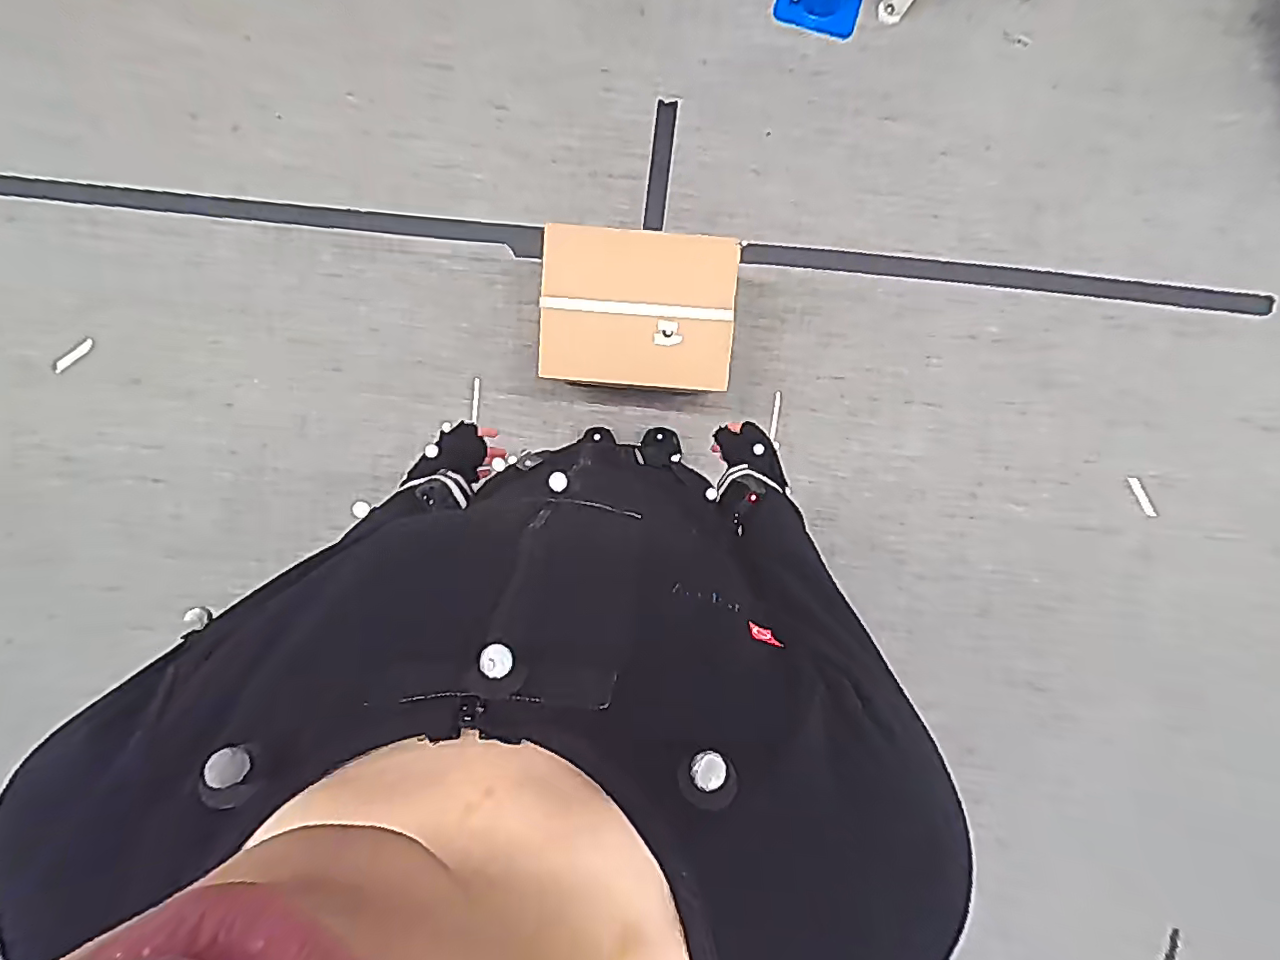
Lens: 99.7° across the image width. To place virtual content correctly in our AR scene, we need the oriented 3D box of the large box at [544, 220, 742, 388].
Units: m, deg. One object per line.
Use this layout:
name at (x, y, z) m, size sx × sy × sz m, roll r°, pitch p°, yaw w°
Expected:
large box at (0.000, -0.386, 1.269) m, size 0.408 × 0.320 × 0.320 m, roll 4°, pitch 99°, yaw -1°
